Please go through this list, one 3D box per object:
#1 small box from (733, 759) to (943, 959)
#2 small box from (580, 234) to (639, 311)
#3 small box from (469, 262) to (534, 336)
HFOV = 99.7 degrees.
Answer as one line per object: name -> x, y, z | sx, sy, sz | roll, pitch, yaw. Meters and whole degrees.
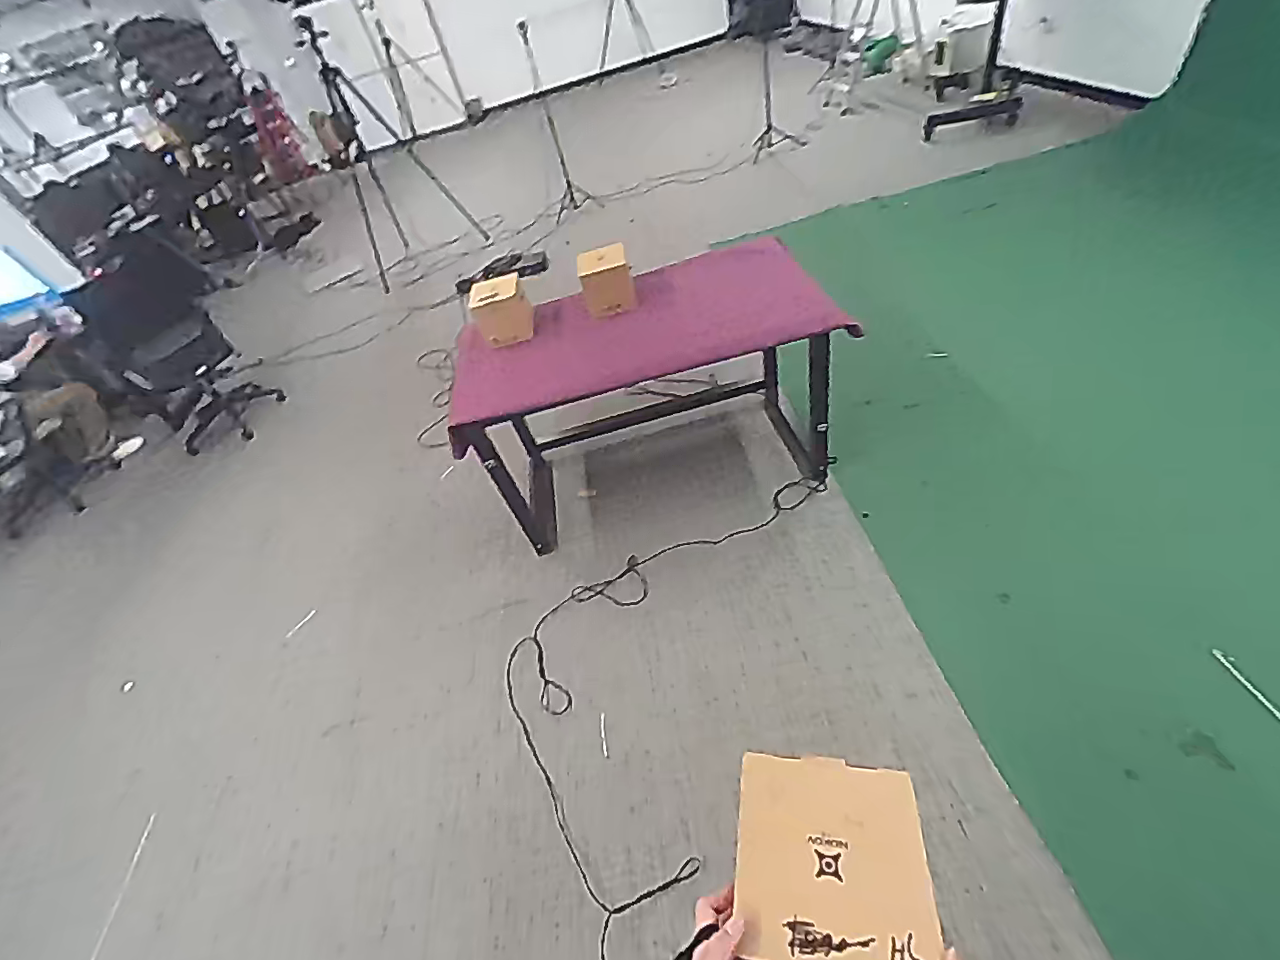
small box -> 0.181, 0.413, 0.532 | 0.168, 0.176, 0.179 | 0, 35, 14
small box -> -0.105, -0.708, 1.849 | 0.168, 0.176, 0.179 | -12, 47, 5
small box -> -0.471, -0.615, 1.860 | 0.168, 0.176, 0.179 | -13, 47, 3
